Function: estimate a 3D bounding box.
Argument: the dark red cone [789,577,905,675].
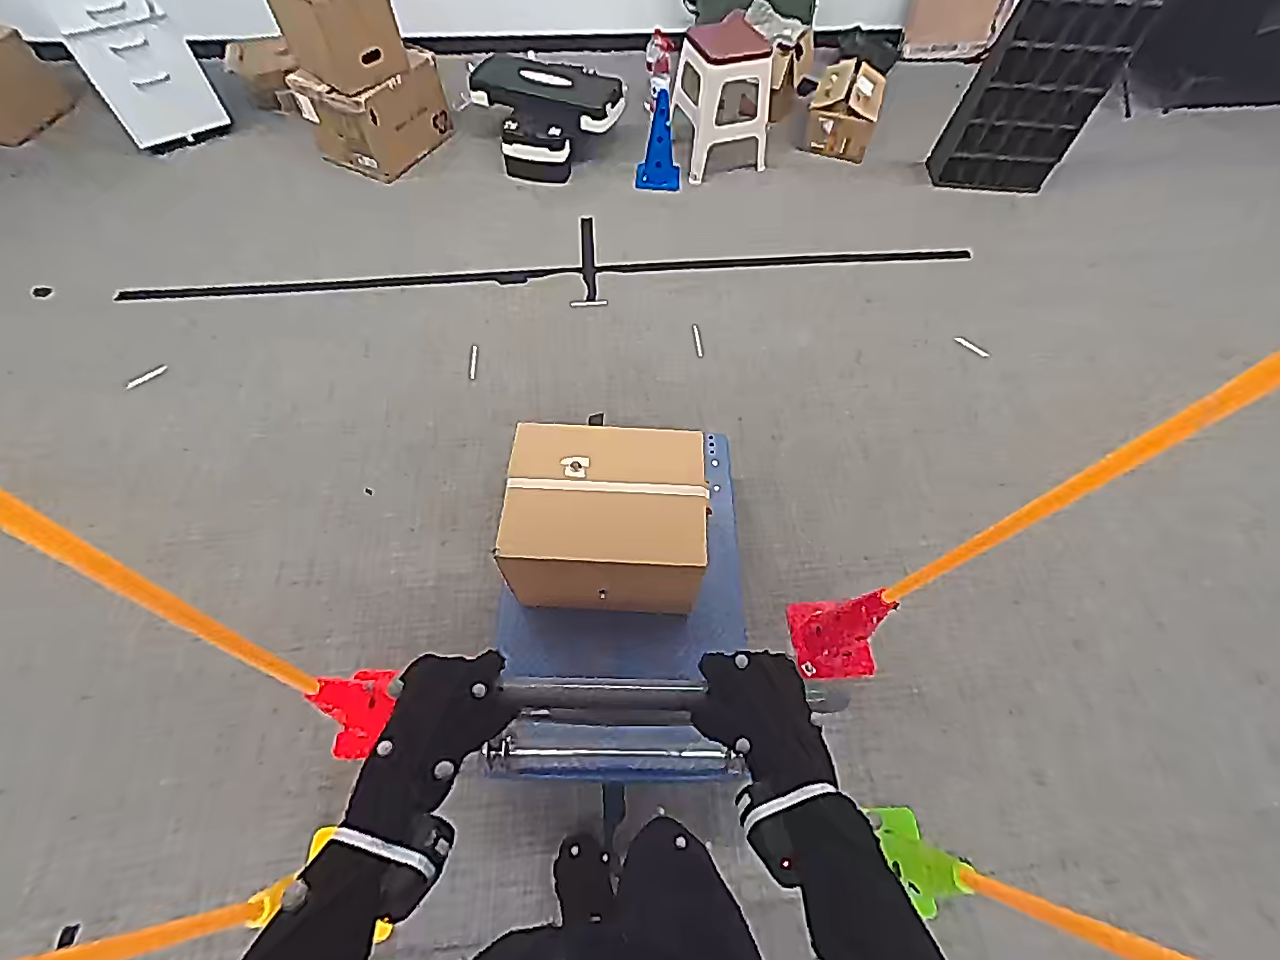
[{"bbox_3d":[0.510,0.318,1.266,0.201,0.394,0.202,-3,60,-5],"label":"dark red cone"}]

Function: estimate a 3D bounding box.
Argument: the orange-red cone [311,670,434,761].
[{"bbox_3d":[-0.609,0.476,1.165,0.198,0.360,0.199,3,58,-1],"label":"orange-red cone"}]

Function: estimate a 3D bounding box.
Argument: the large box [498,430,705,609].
[{"bbox_3d":[-0.070,0.101,1.232,0.408,0.320,0.320,2,59,0],"label":"large box"}]

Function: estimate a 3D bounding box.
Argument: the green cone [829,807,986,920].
[{"bbox_3d":[0.532,0.743,1.032,0.202,0.368,0.200,0,59,-3],"label":"green cone"}]
